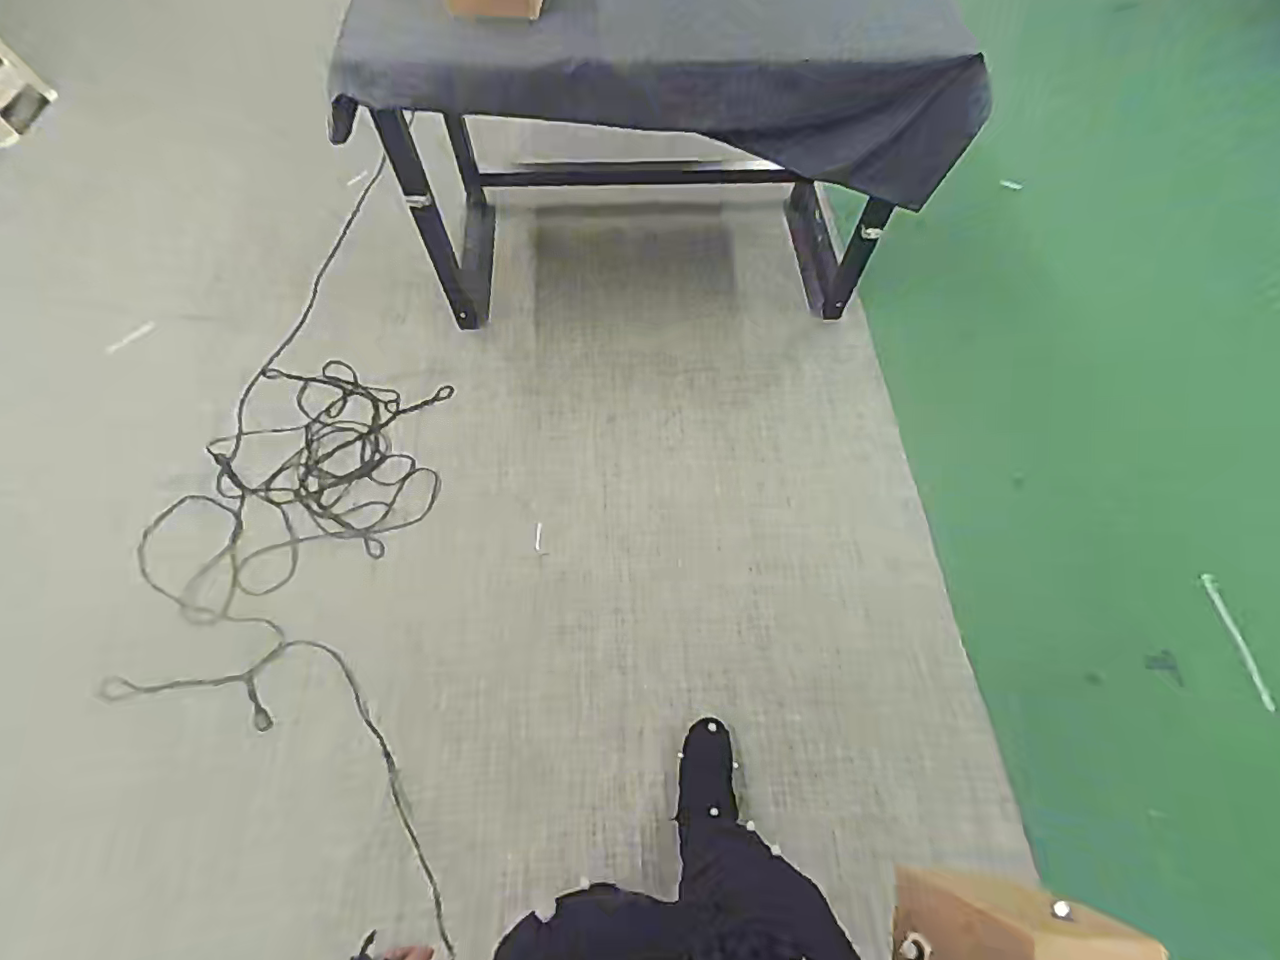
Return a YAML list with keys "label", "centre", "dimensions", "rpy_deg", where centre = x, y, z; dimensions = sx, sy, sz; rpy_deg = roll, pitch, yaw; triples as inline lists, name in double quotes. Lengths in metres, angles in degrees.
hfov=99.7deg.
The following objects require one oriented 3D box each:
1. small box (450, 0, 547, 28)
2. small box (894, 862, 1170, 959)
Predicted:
- label: "small box"
  centre: [-0.269, -0.991, 1.018]
  dimensions: [0.179, 0.176, 0.168]
  rpy_deg: [3, 63, 0]
- label: "small box"
  centre: [0.386, 0.514, 0.545]
  dimensions: [0.179, 0.176, 0.168]
  rpy_deg: [16, 70, -15]
